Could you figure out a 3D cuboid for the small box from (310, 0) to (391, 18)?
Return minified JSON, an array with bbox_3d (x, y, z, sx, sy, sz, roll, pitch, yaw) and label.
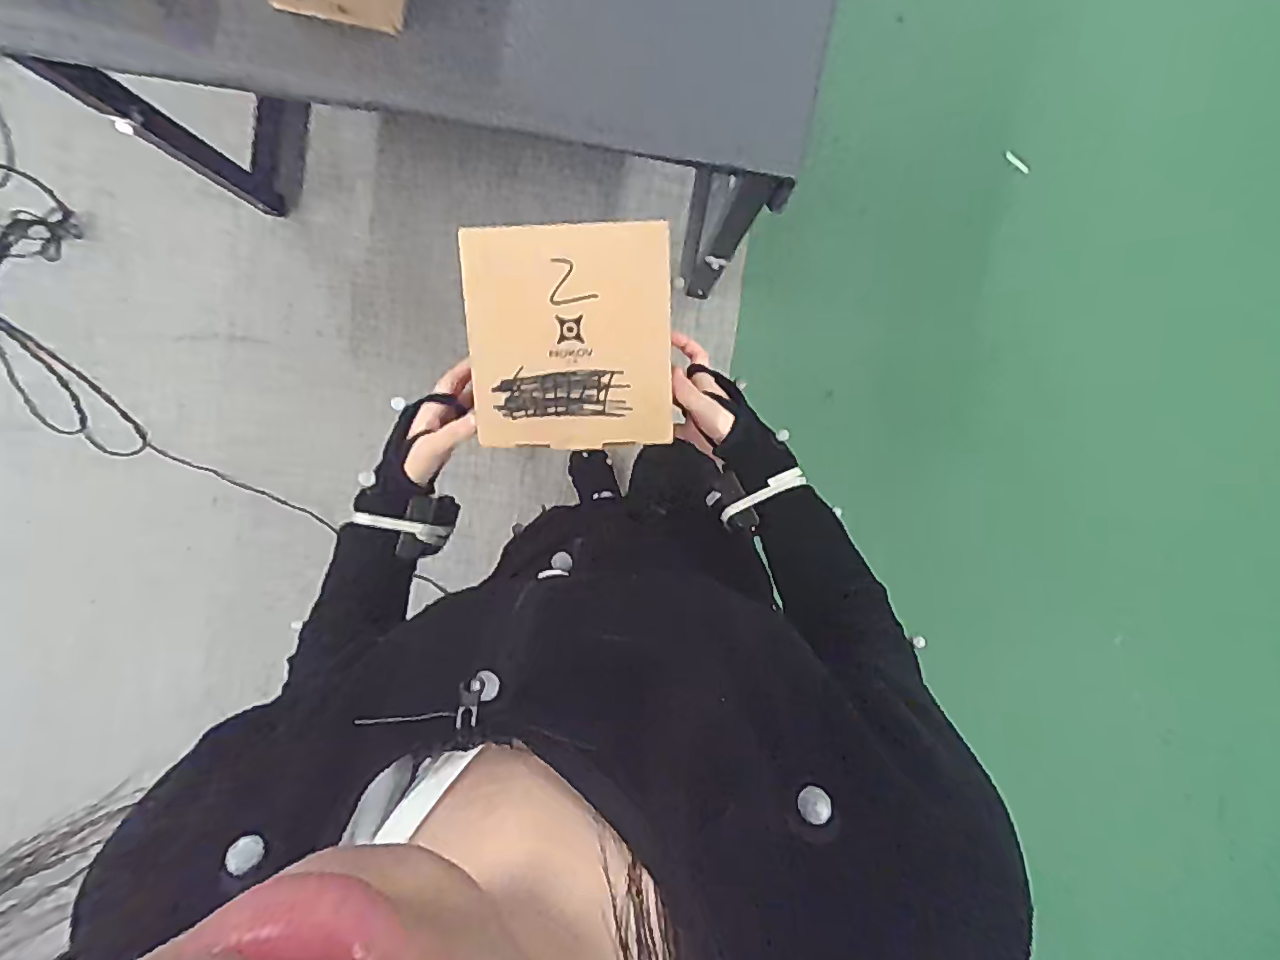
[{"bbox_3d":[-0.374,-0.672,0.589,0.168,0.176,0.179,10,95,-5],"label":"small box"}]
